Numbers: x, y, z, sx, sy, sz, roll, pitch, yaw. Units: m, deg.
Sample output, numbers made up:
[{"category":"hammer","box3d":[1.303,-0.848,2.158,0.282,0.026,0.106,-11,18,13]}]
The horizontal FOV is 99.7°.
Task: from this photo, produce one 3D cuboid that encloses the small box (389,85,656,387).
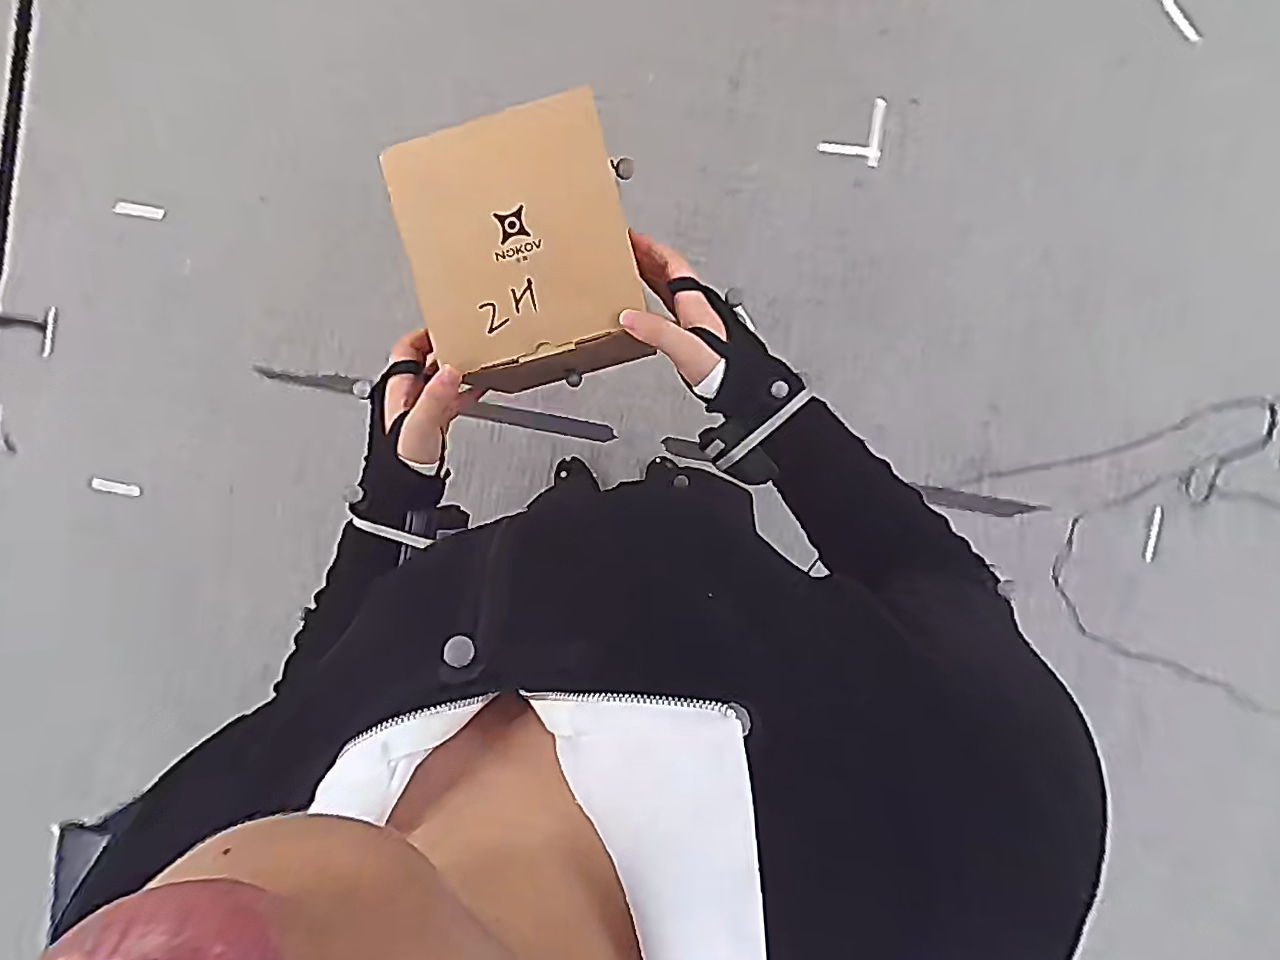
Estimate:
[{"category":"small box","box3d":[-0.084,-0.190,0.478,0.168,0.176,0.179,-13,95,5]}]
